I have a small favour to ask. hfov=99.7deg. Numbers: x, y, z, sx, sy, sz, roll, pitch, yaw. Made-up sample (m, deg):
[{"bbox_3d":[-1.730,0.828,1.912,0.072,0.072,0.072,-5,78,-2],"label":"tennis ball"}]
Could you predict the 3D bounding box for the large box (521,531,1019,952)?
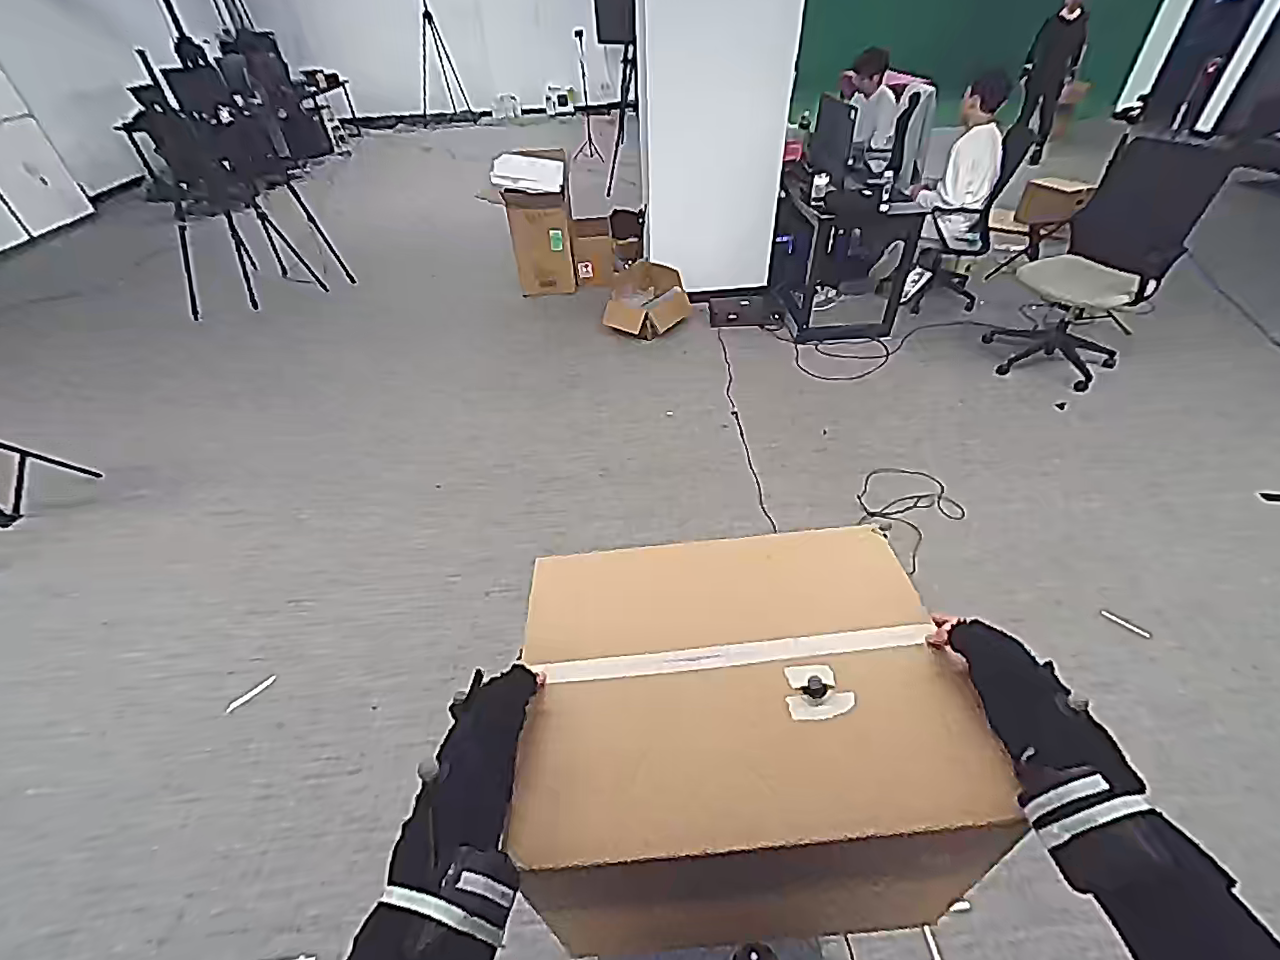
[{"bbox_3d":[0.103,0.294,0.627,0.408,0.320,0.320,-6,39,0],"label":"large box"}]
